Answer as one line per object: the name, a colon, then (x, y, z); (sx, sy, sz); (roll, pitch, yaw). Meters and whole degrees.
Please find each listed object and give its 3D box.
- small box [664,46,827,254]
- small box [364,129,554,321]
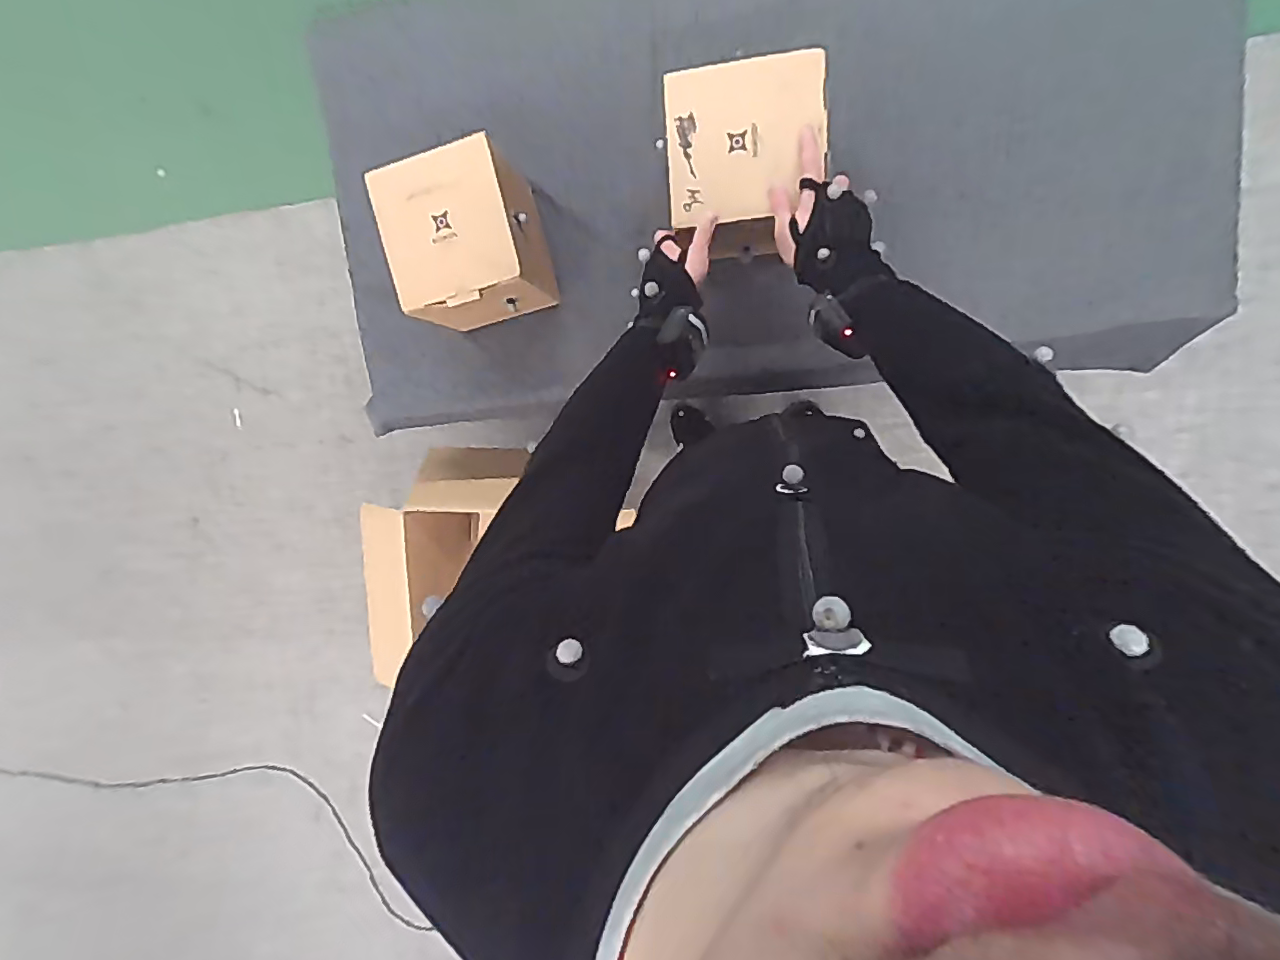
small box: (0.126, -0.392, 0.674); (0.179, 0.176, 0.168); (-2, 100, 8)
small box: (-0.233, -0.328, 0.740); (0.168, 0.176, 0.179); (-13, 95, 9)
